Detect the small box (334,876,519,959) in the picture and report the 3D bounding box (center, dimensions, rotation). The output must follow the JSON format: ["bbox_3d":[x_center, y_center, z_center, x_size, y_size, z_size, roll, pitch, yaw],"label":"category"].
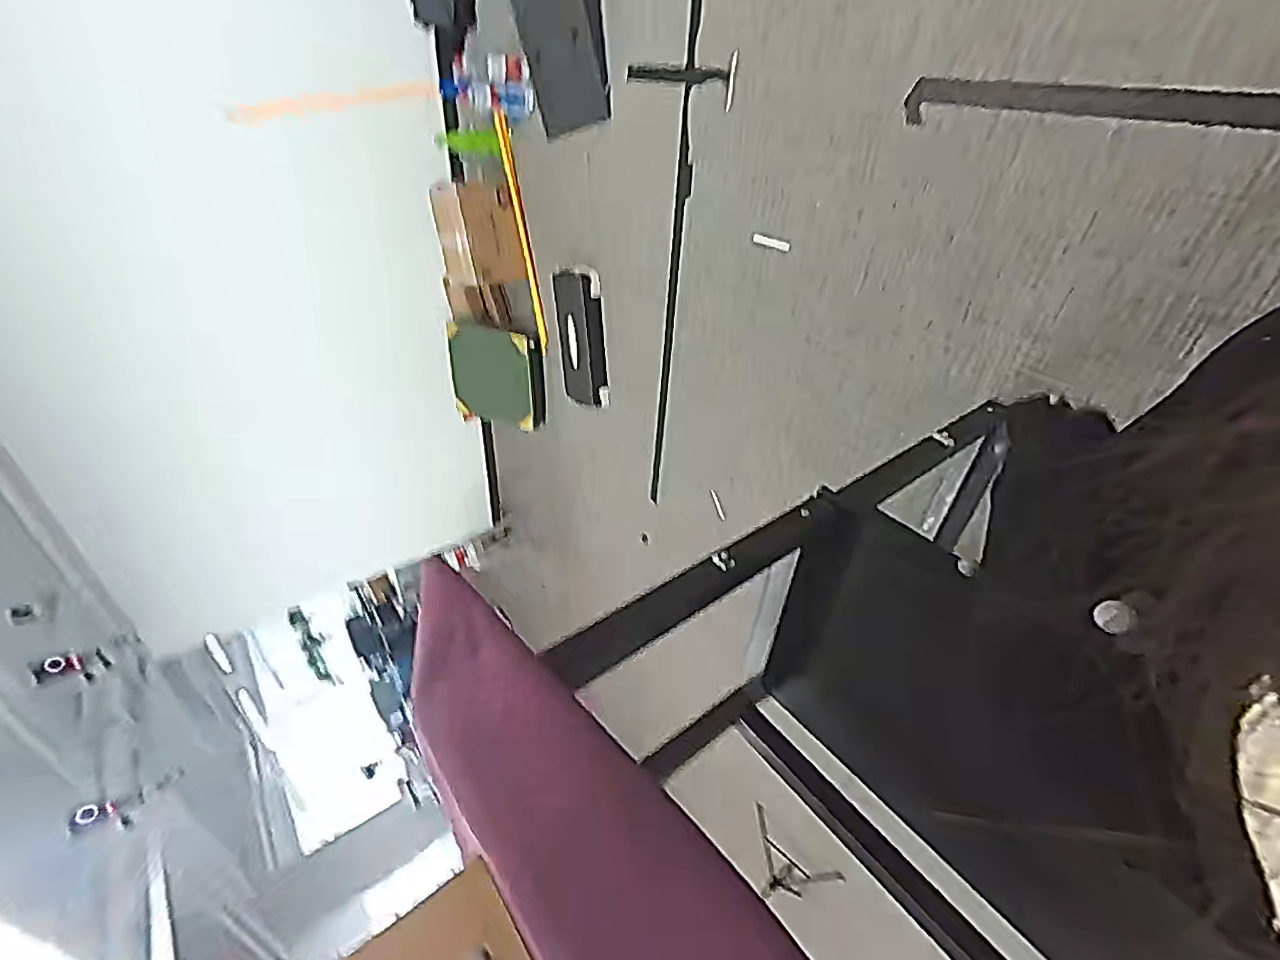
[{"bbox_3d":[-0.197,0.540,0.536,0.179,0.176,0.168,40,139,36],"label":"small box"}]
